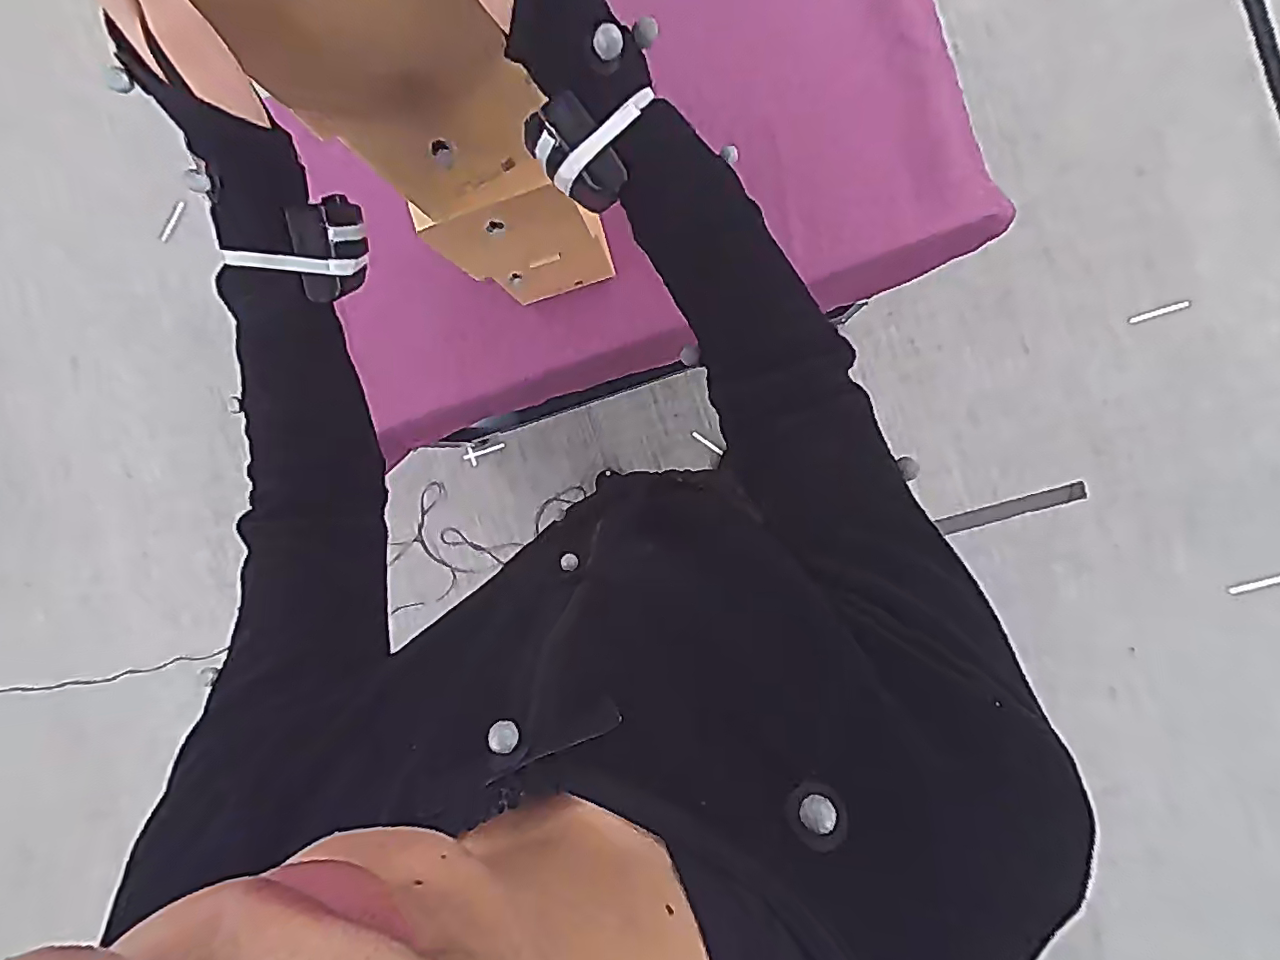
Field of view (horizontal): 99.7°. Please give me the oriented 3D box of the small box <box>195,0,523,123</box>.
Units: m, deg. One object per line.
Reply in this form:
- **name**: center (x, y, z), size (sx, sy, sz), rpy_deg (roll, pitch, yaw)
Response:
- **small box**: center (-0.196, -0.366, 0.329), size (0.179, 0.176, 0.168), rpy_deg (-18, 91, 6)

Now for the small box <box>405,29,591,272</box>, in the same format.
- **small box**: center (-0.174, -0.375, 0.655), size (0.179, 0.176, 0.168), rpy_deg (-16, 91, 6)

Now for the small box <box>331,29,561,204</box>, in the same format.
- **small box**: center (-0.191, -0.386, 0.493), size (0.168, 0.176, 0.179), rpy_deg (-24, 89, 6)
